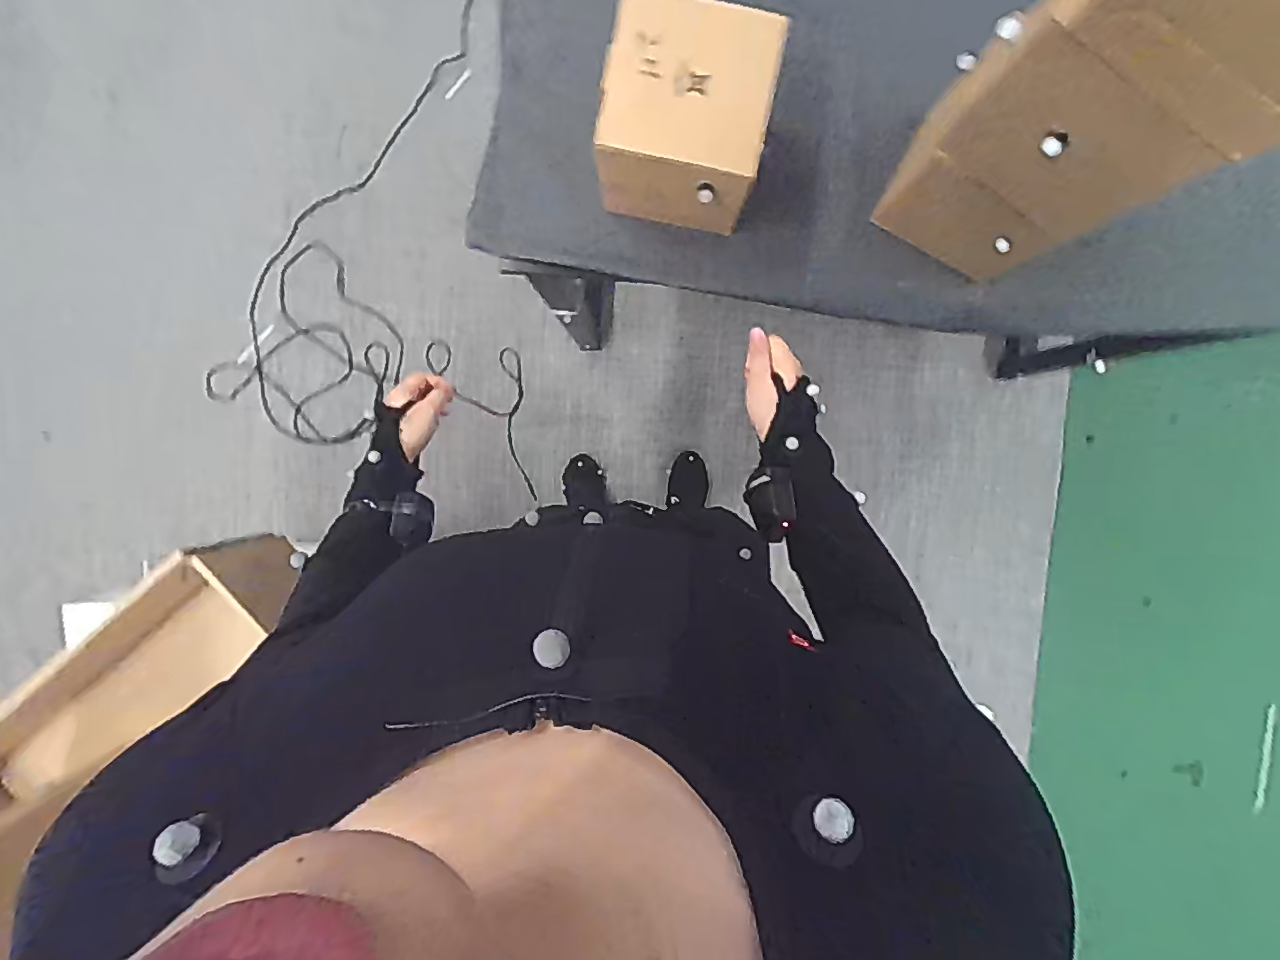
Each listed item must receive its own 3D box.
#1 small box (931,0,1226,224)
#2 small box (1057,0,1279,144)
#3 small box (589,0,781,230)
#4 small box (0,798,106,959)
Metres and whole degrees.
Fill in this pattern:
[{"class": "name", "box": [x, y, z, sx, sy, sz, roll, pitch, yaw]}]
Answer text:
[{"class": "small box", "box": [0.411, -0.361, 0.479, 0.179, 0.176, 0.168, 36, 93, -1]}, {"class": "small box", "box": [0.411, -0.348, 0.317, 0.179, 0.176, 0.168, 36, 93, -2]}, {"class": "small box", "box": [0.047, -0.420, 0.645, 0.179, 0.176, 0.168, 11, 95, 0]}, {"class": "small box", "box": [-0.830, 0.534, 0.653, 0.179, 0.176, 0.168, -25, 96, 1]}]
